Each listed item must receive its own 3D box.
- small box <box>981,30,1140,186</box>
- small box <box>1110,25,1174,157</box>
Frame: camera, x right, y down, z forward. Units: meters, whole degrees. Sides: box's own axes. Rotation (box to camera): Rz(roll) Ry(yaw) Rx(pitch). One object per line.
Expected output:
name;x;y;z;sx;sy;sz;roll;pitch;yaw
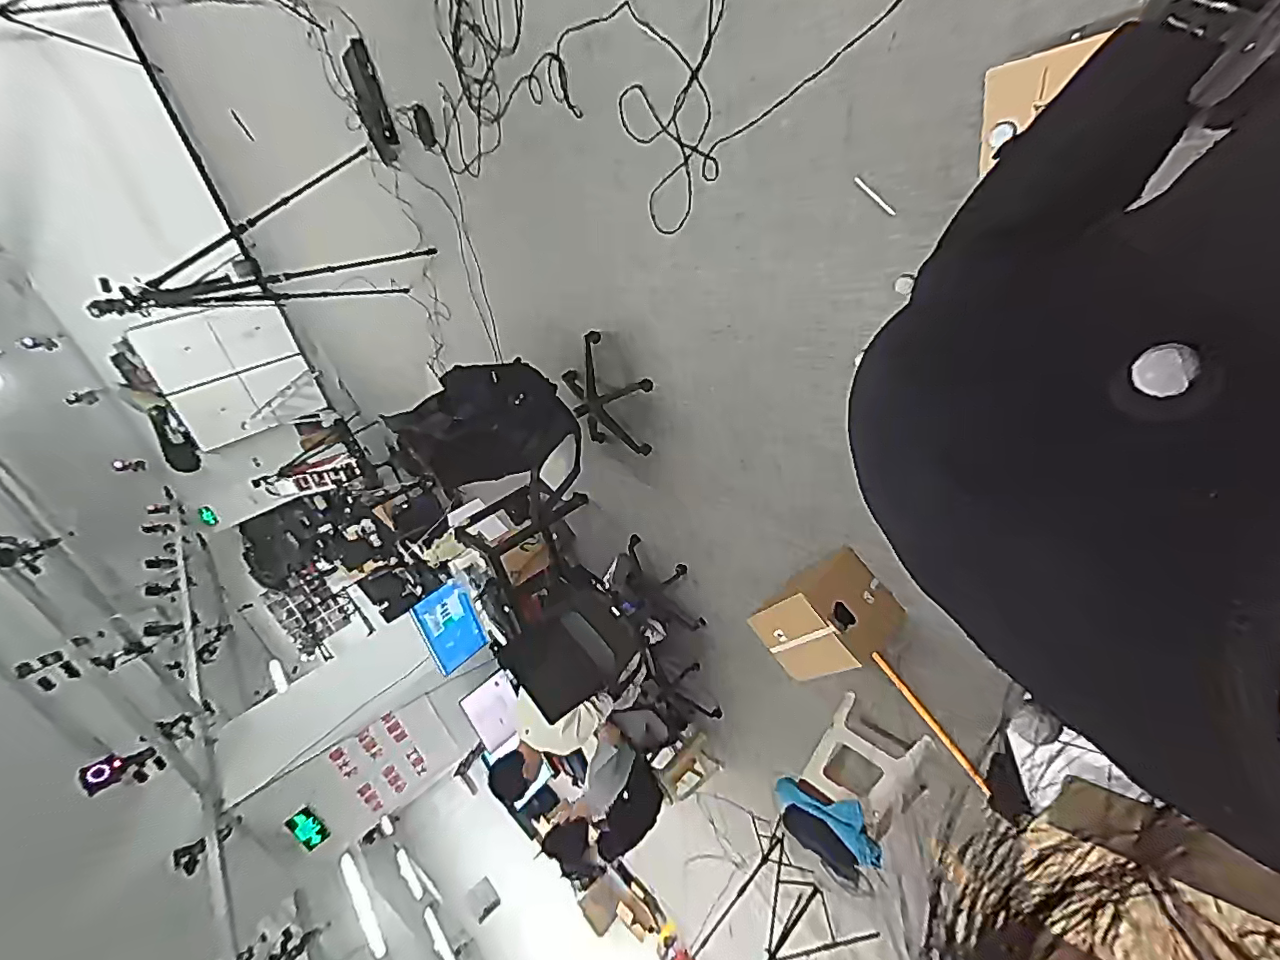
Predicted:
small box;0.693;-0.612;0.898;0.168;0.176;0.179;17;130;46
small box;0.823;-0.680;0.973;0.168;0.176;0.179;17;131;48
